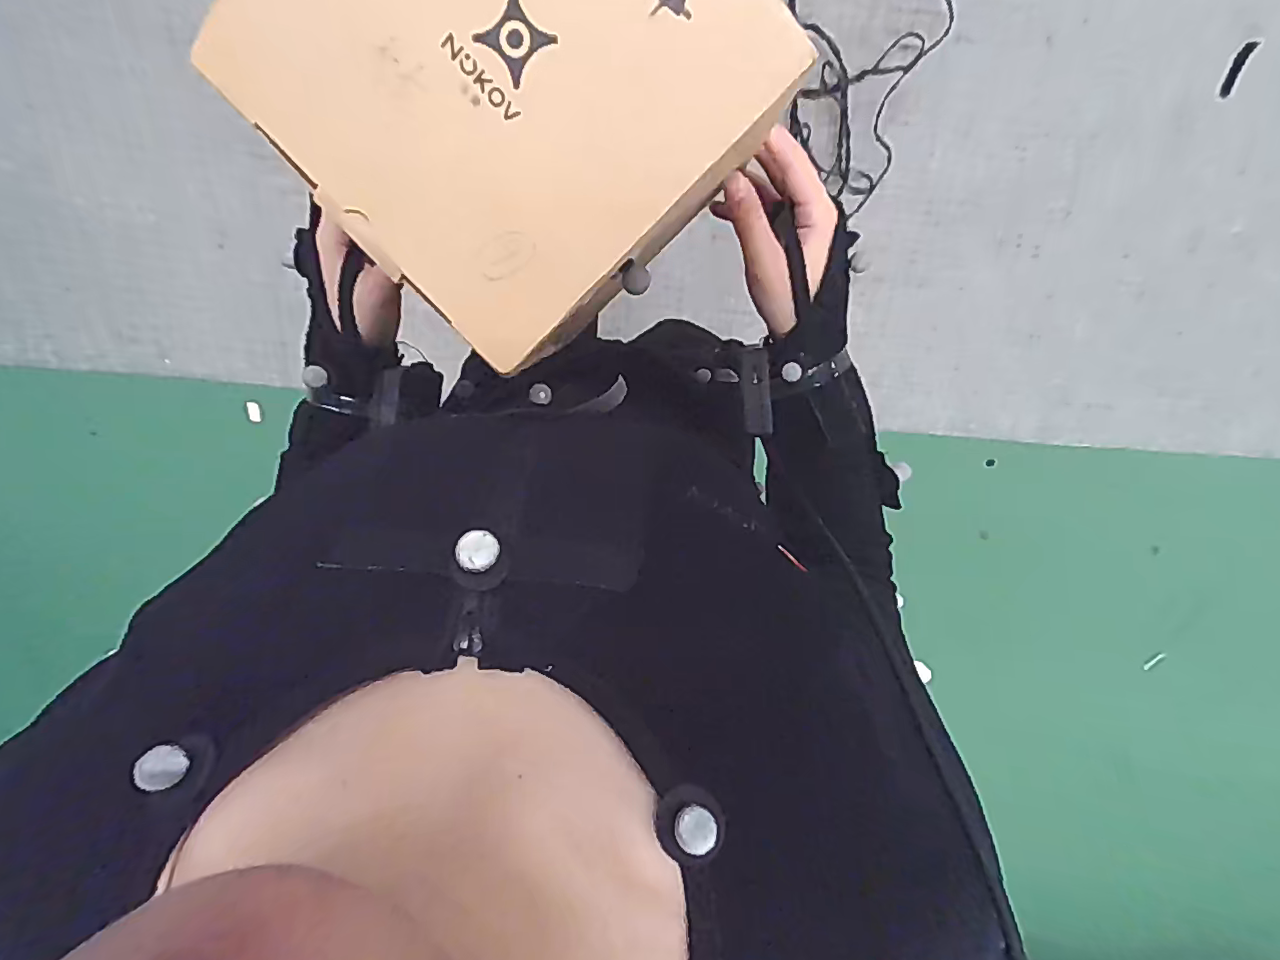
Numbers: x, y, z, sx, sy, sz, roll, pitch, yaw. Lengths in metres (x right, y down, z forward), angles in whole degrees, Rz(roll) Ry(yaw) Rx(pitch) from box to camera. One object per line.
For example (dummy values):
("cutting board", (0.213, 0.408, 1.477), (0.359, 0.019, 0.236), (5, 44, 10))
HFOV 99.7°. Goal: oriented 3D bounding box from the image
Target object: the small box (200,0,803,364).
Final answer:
("small box", (-0.050, -0.185, 0.278), (0.179, 0.176, 0.168), (-41, 103, 14))
